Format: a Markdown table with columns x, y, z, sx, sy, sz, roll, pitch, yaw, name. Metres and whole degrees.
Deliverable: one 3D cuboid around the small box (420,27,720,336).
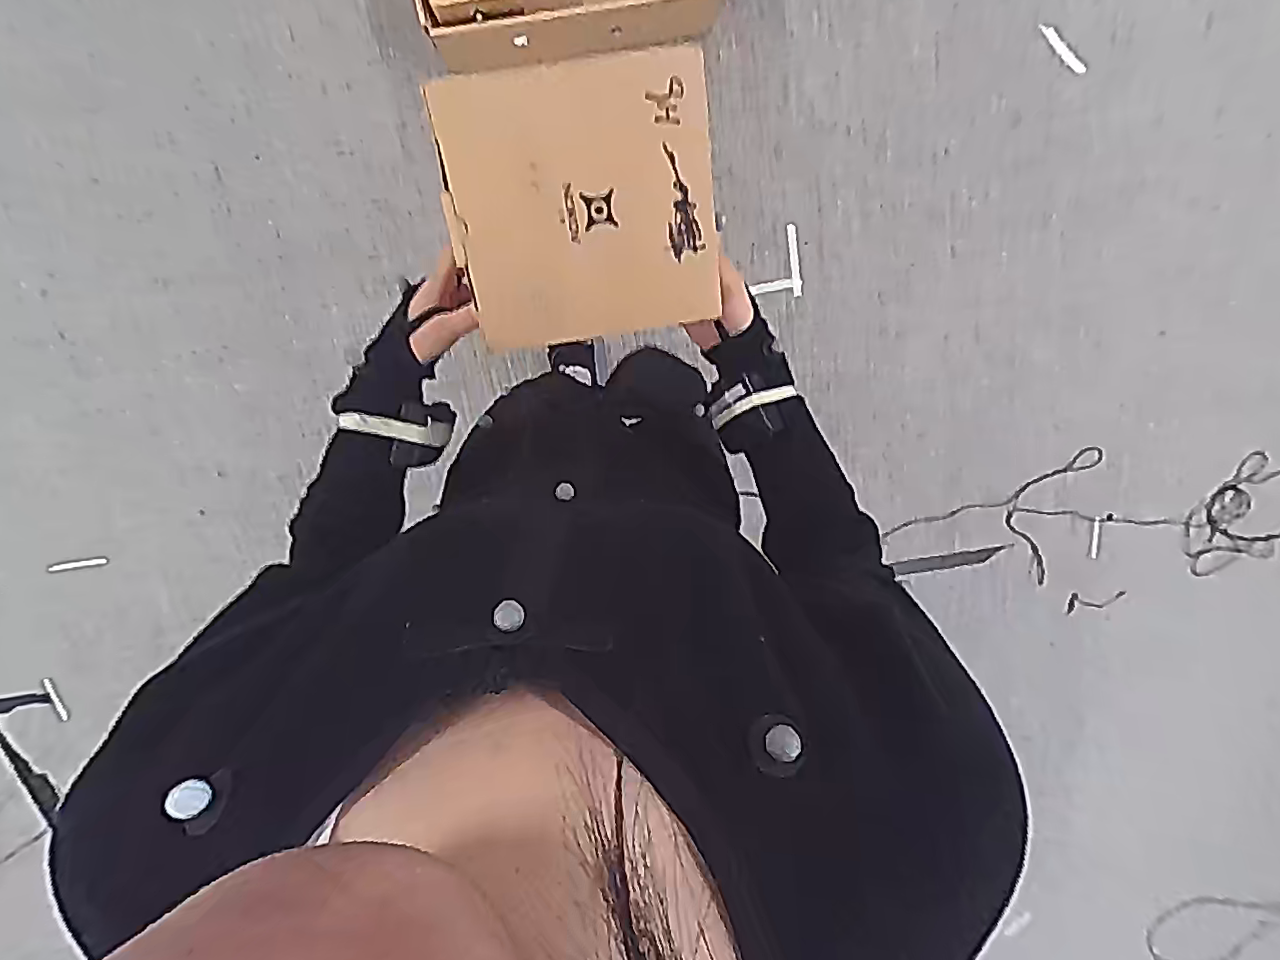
| x | y | z | sx | sy | sz | roll | pitch | yaw | name |
| --- | --- | --- | --- | --- | --- | --- | --- | --- | --- |
| -0.044 | -0.217 | 0.428 | 0.179 | 0.176 | 0.168 | -9 | 113 | -2 | small box |
